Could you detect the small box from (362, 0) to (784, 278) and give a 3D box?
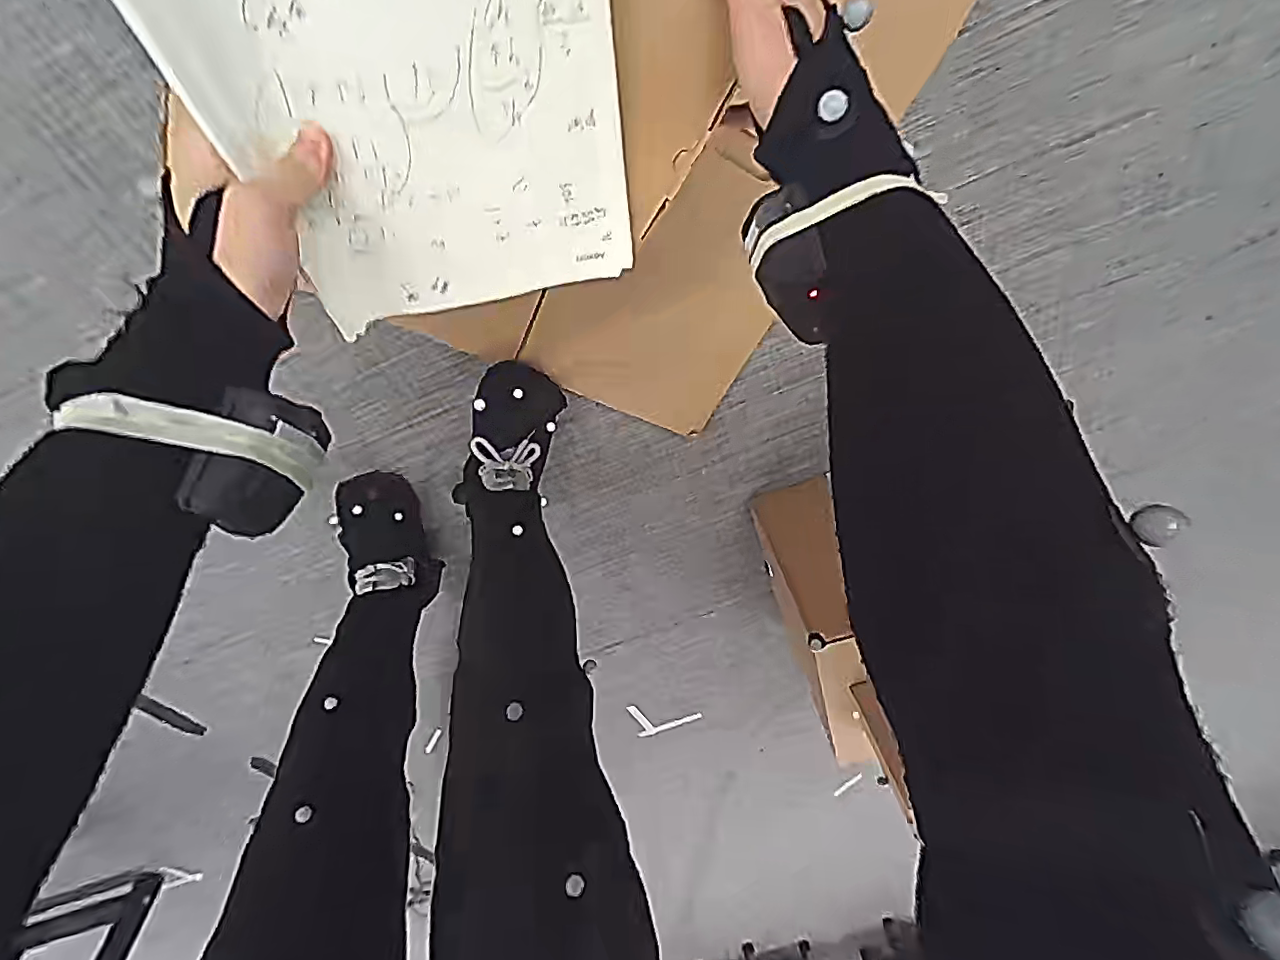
[{"bbox_3d":[-0.048,-0.269,0.353,0.179,0.176,0.168,22,121,-27],"label":"small box"}]

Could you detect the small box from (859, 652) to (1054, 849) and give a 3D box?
[{"bbox_3d":[0.423,0.372,0.749,0.179,0.176,0.168,-24,128,9],"label":"small box"}]
